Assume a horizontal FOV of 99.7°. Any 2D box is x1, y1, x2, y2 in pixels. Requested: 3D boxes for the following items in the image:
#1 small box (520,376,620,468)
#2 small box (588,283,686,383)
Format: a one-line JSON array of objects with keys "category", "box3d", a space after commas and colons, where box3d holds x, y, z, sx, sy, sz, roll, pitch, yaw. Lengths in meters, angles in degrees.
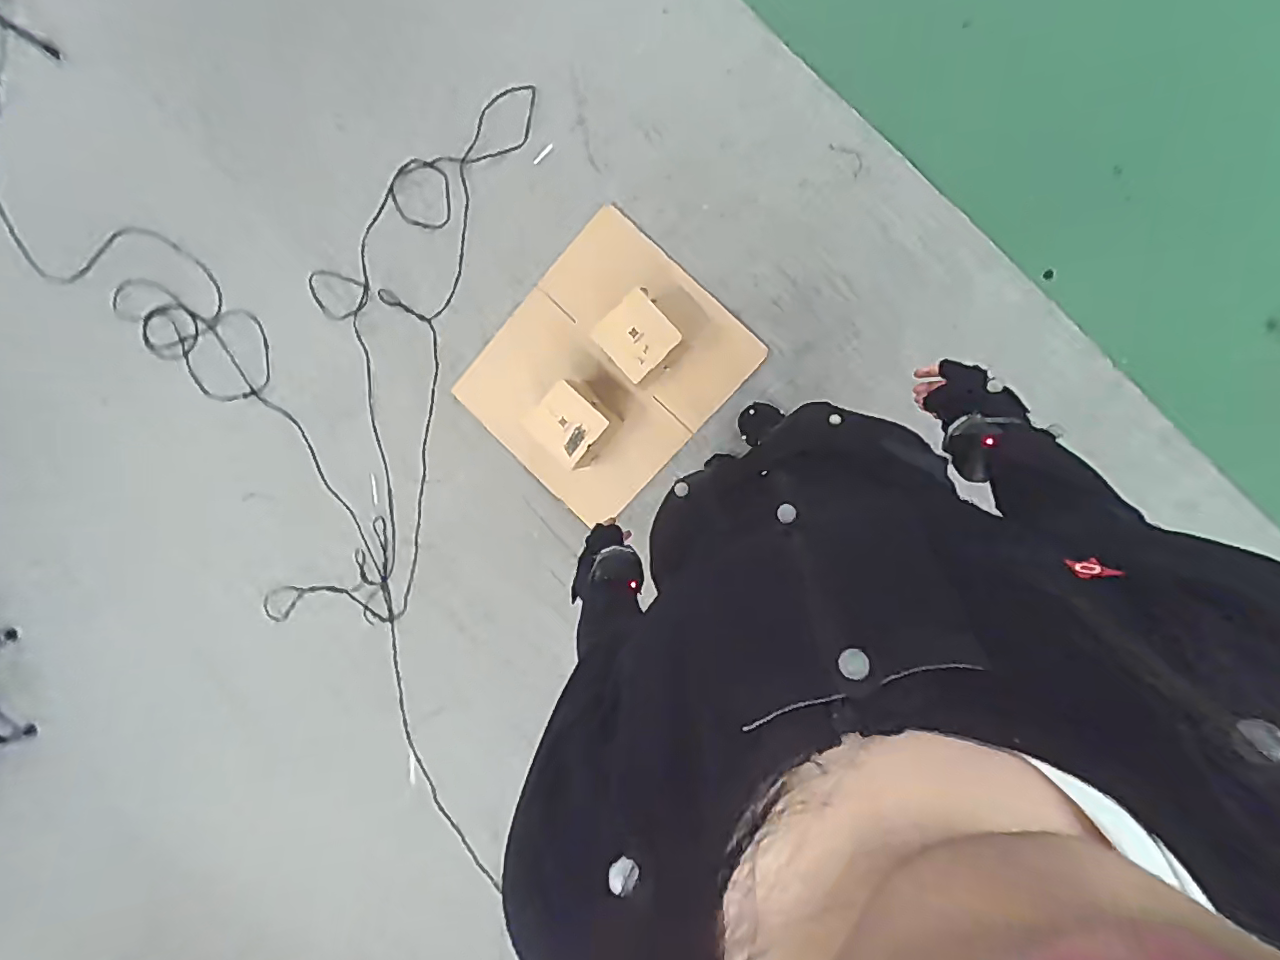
[{"category": "small box", "box3d": [-0.177, -0.155, 1.435, 0.179, 0.176, 0.168, 42, 101, 4]}, {"category": "small box", "box3d": [0.000, -0.366, 1.387, 0.168, 0.176, 0.179, -42, 88, 12]}]
